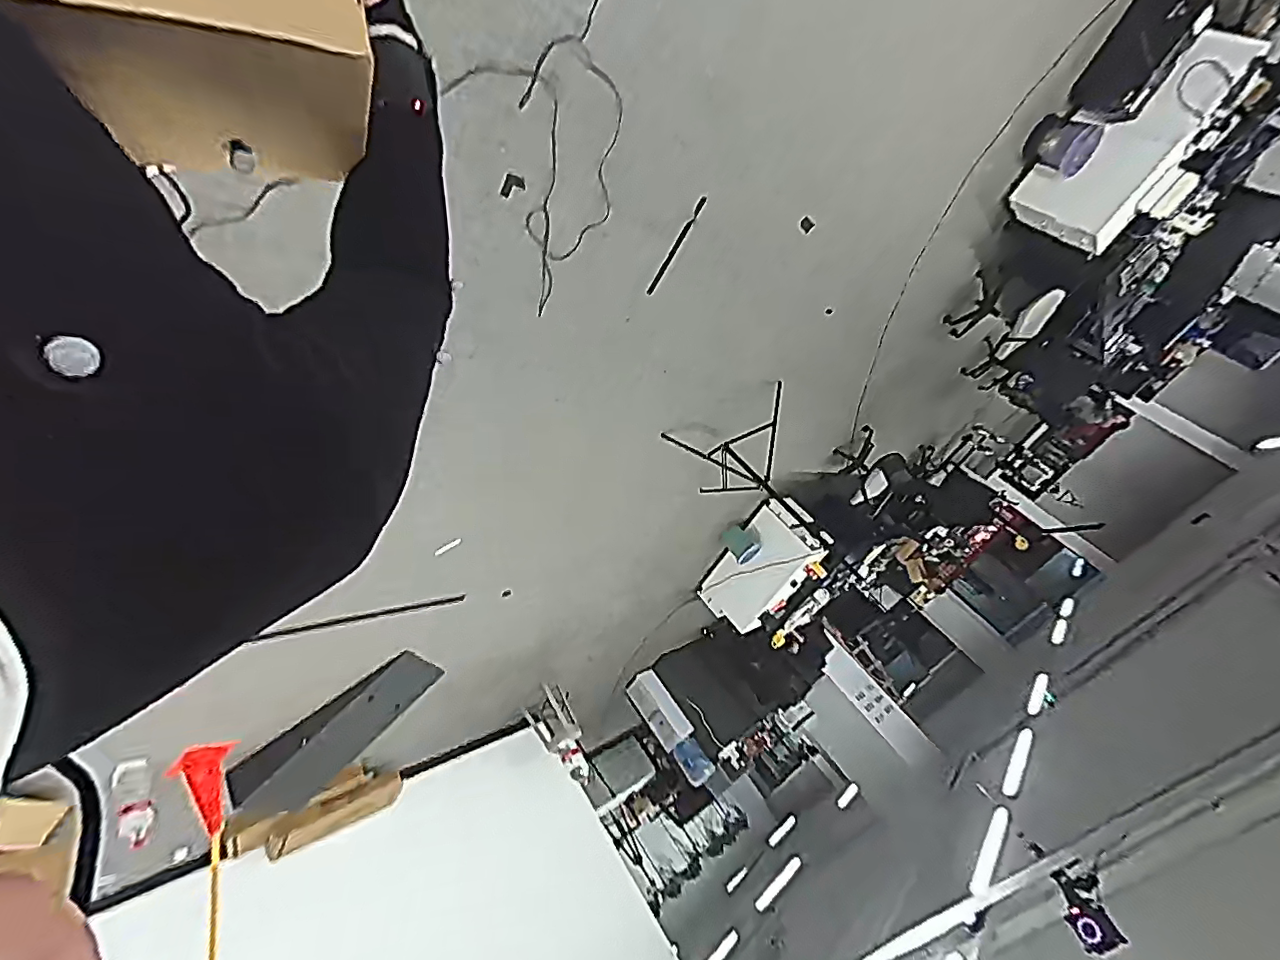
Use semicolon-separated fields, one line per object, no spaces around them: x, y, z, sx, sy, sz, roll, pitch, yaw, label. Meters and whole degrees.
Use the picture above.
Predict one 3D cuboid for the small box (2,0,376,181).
-0.300;-0.334;0.378;0.179;0.176;0.168;-11;96;-29;small box
